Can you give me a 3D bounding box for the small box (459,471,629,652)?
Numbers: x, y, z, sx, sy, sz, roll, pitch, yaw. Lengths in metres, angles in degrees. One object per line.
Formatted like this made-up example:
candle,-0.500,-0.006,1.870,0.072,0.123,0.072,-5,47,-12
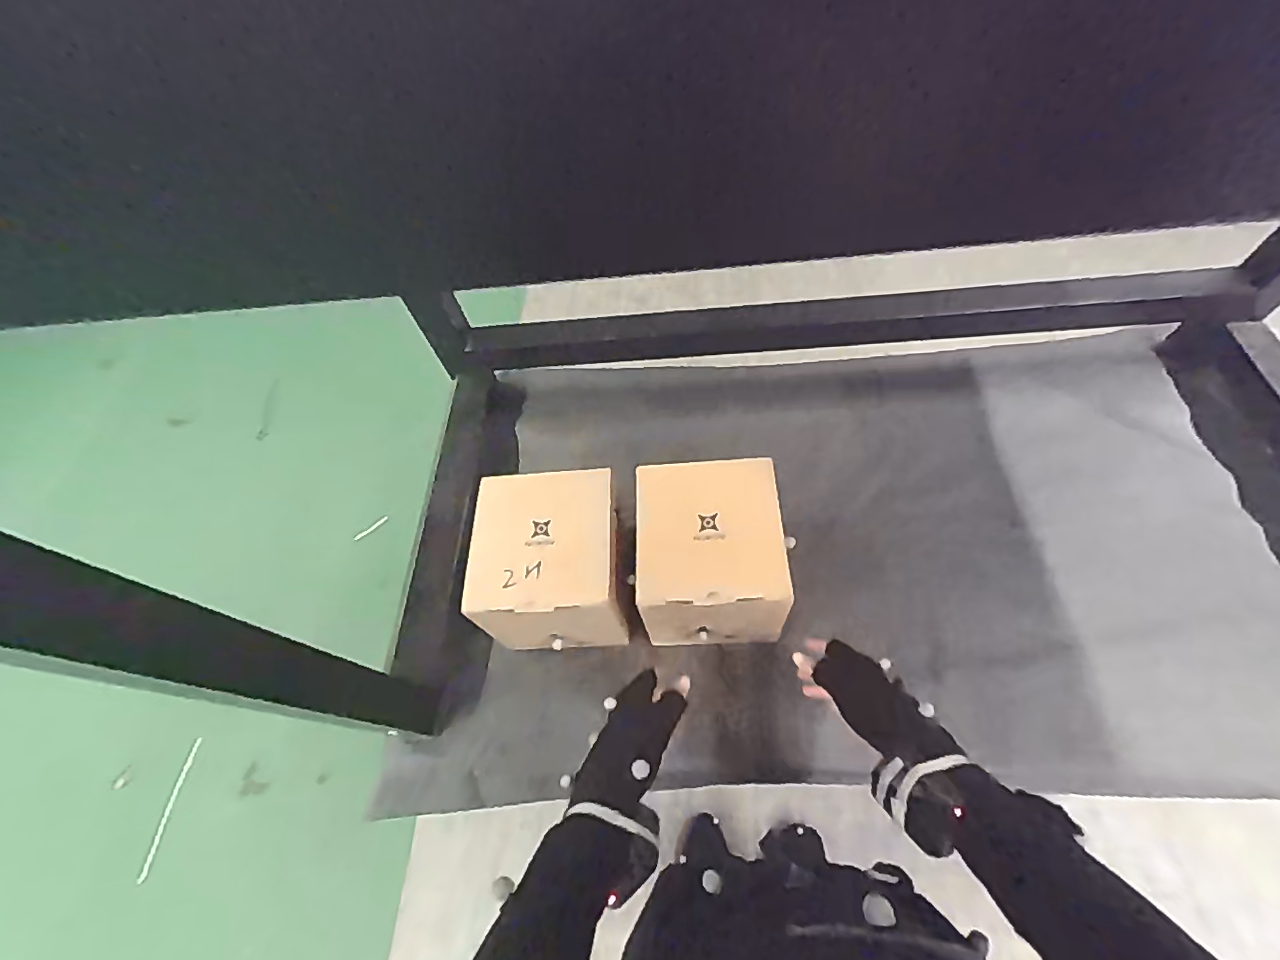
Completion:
small box,-0.107,0.109,0.690,0.168,0.176,0.179,-4,58,6
